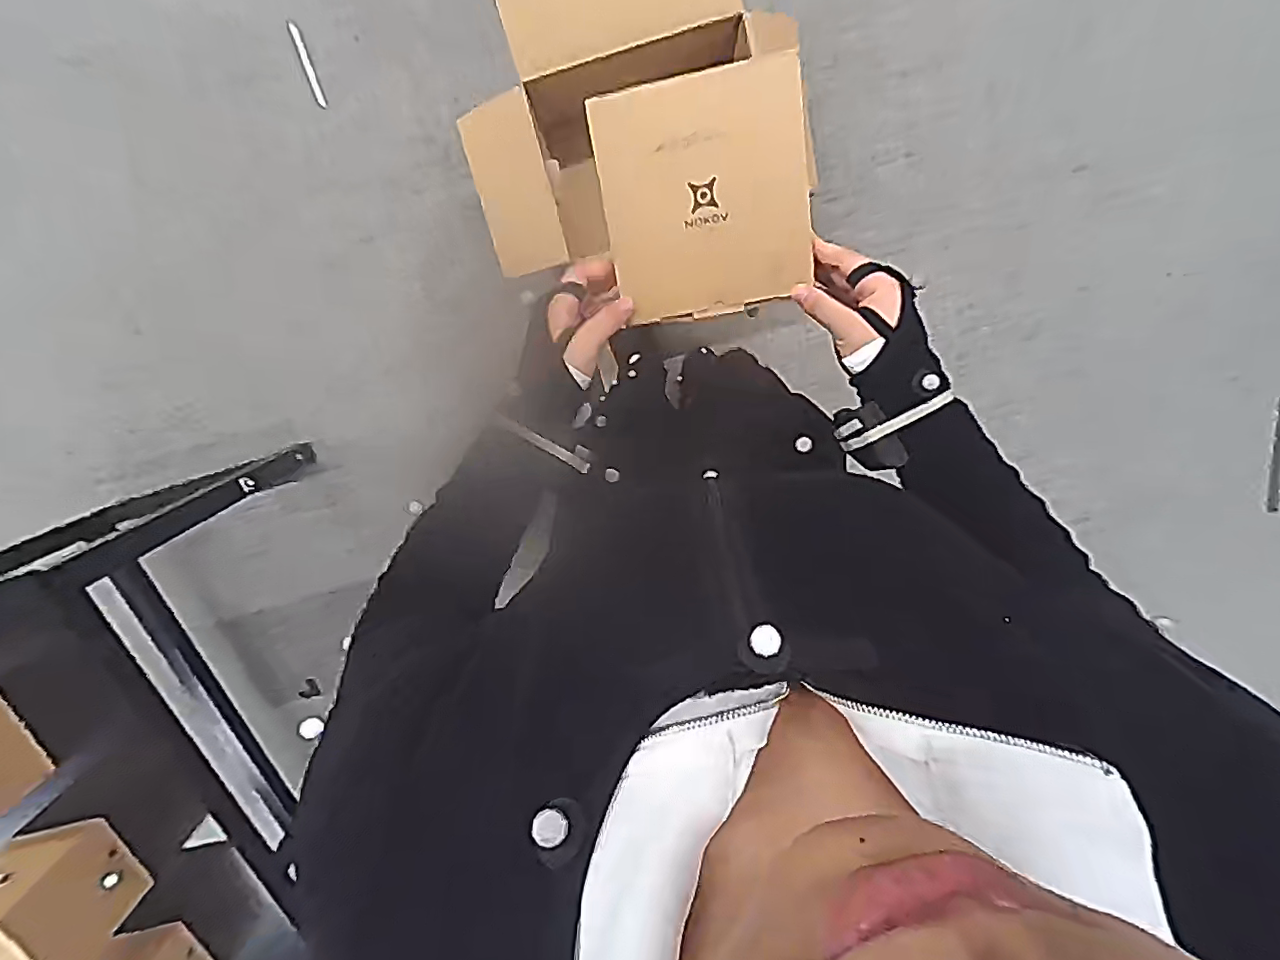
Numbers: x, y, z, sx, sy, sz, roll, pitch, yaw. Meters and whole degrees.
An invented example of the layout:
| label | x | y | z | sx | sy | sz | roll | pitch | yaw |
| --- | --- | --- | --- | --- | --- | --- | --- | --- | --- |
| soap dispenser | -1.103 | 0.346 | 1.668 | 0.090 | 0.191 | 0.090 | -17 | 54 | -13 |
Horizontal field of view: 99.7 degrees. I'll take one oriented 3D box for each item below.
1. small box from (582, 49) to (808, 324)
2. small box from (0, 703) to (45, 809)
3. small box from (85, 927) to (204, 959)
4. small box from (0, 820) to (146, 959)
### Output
| label | x | y | z | sx | sy | sz | roll | pitch | yaw |
| --- | --- | --- | --- | --- | --- | --- | --- | --- | --- |
| small box | 0.055 | -0.256 | 0.511 | 0.168 | 0.176 | 0.179 | -8 | 109 | 8 |
| small box | -1.029 | 0.425 | 0.761 | 0.168 | 0.176 | 0.179 | -12 | 110 | 3 |
| small box | -0.901 | 0.925 | 0.940 | 0.179 | 0.176 | 0.168 | -15 | 109 | 3 |
| small box | -0.960 | 0.682 | 0.853 | 0.179 | 0.176 | 0.168 | -15 | 109 | 3 |
